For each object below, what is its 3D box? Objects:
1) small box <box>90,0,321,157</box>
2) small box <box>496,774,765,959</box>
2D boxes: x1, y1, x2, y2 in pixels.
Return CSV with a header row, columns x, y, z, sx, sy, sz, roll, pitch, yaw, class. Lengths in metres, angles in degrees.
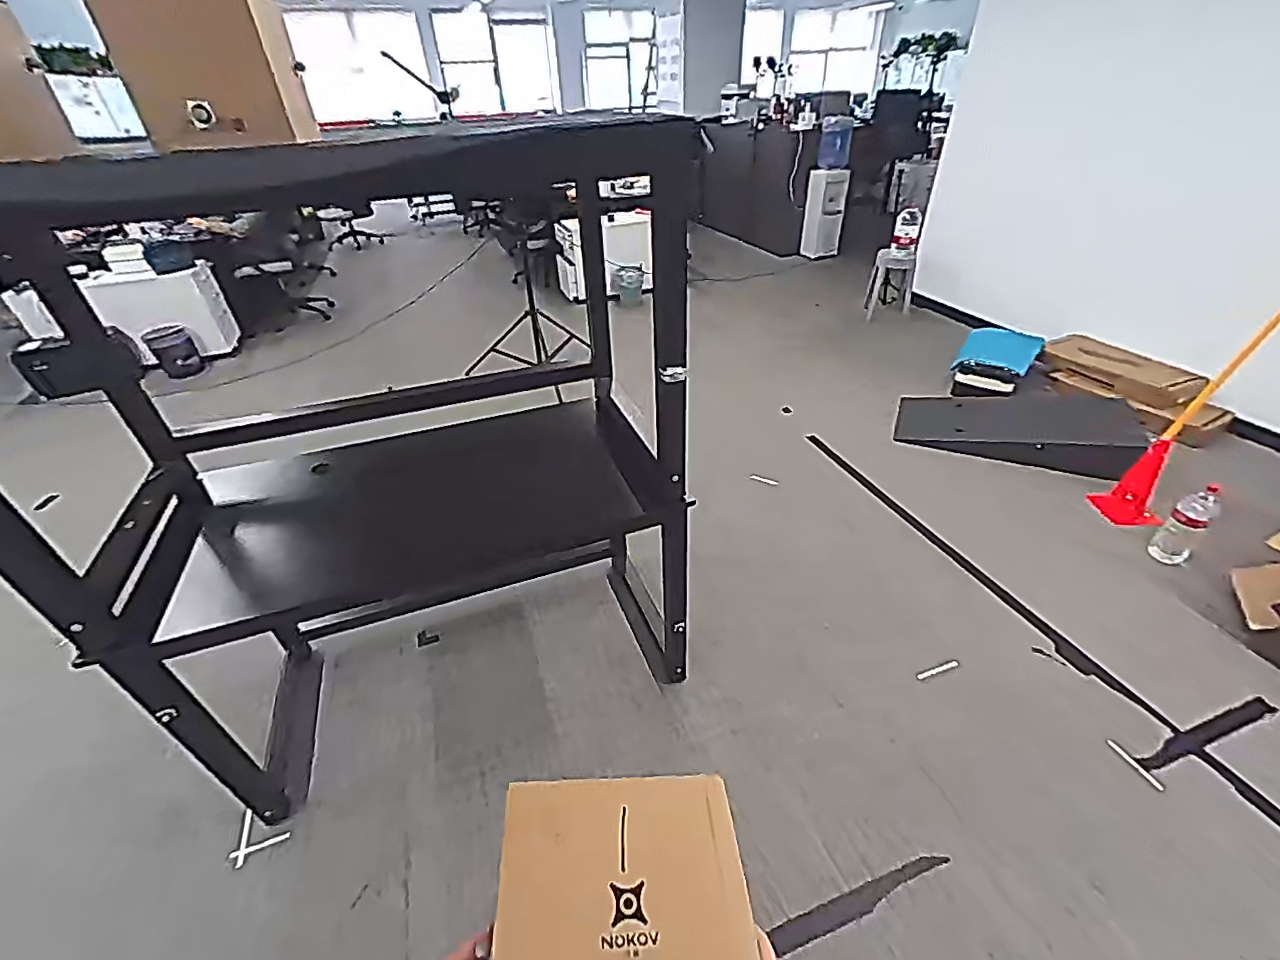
x,y,z,sx,sy,sz,roll,pitch,yaw,class
-0.542,-0.524,0.703,0.168,0.176,0.179,-13,36,-12,small box
-0.014,0.341,0.387,0.168,0.176,0.179,3,36,-9,small box
